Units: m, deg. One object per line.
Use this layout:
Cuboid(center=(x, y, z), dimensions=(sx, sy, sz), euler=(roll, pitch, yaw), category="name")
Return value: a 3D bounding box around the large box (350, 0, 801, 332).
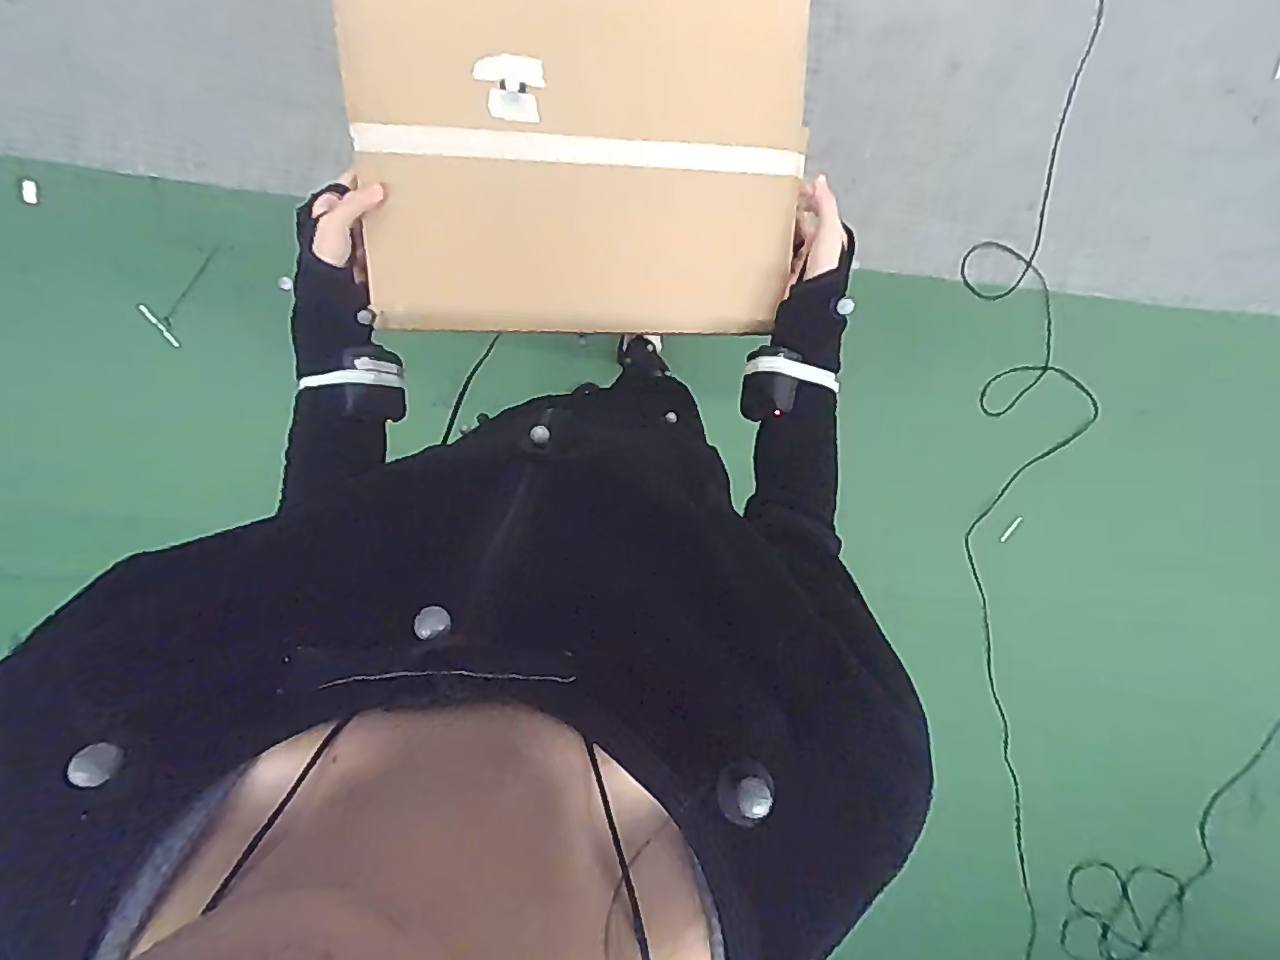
Cuboid(center=(-0.069, -0.345, 0.649), dimensions=(0.408, 0.320, 0.320), euler=(-1, 106, -9), category="large box")
